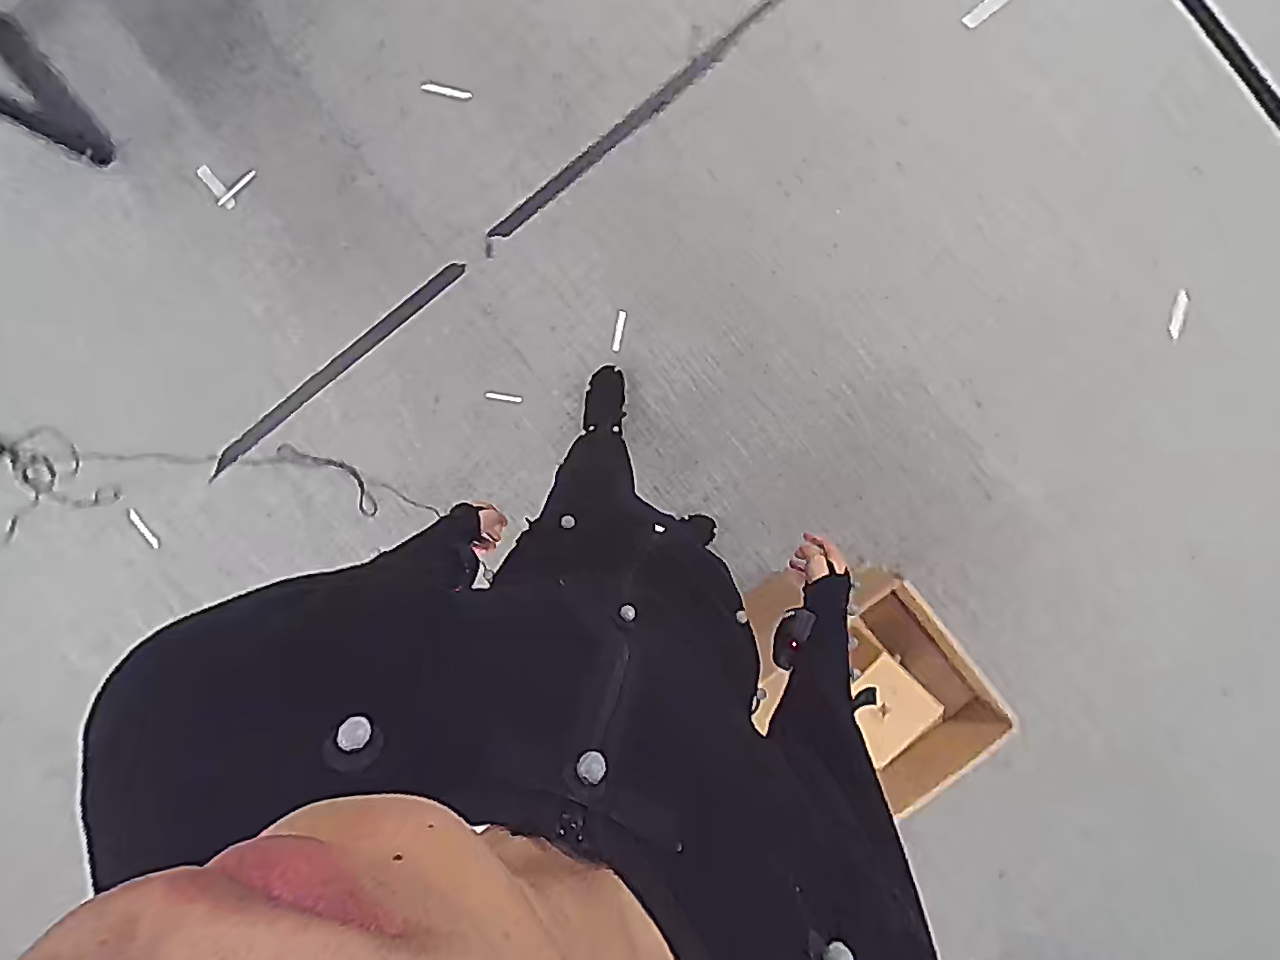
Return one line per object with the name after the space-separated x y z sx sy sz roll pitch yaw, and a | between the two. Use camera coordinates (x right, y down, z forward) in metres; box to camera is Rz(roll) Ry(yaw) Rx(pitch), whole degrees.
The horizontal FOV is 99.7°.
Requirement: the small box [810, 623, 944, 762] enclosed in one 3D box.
0.481 0.437 1.137 0.168 0.176 0.179 44 94 -2 | small box
